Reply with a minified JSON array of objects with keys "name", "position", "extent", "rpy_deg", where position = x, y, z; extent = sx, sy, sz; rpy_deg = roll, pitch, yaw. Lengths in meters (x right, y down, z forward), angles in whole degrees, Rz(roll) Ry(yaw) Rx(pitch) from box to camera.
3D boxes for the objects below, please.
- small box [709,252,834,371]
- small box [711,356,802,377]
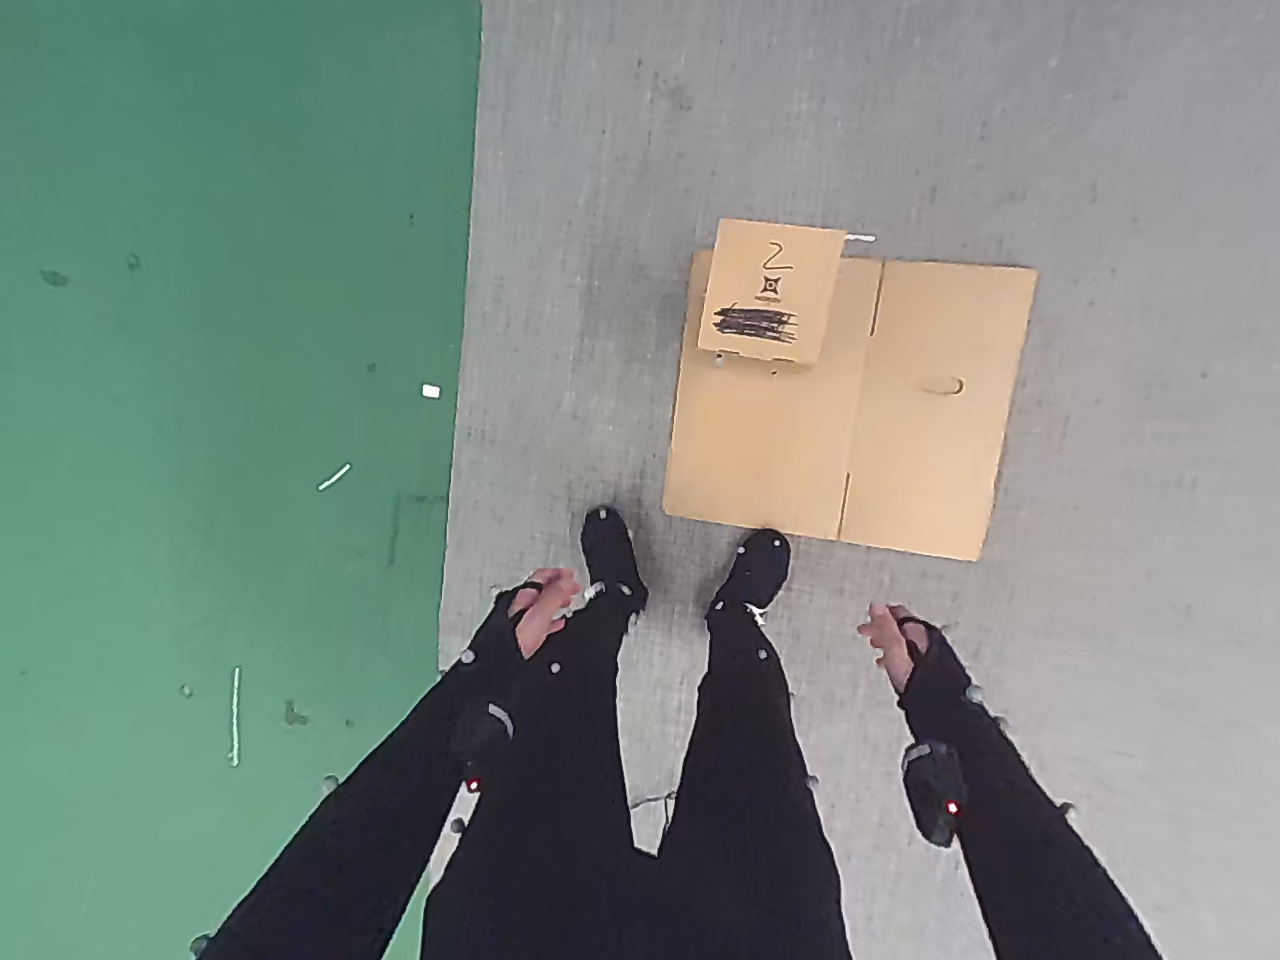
[{"name":"small box","position":[0.225,-0.287,0.951],"extent":[0.179,0.176,0.168],"rpy_deg":[10,99,10]},{"name":"small box","position":[0.249,-0.307,1.109],"extent":[0.179,0.176,0.168],"rpy_deg":[9,98,10]}]
